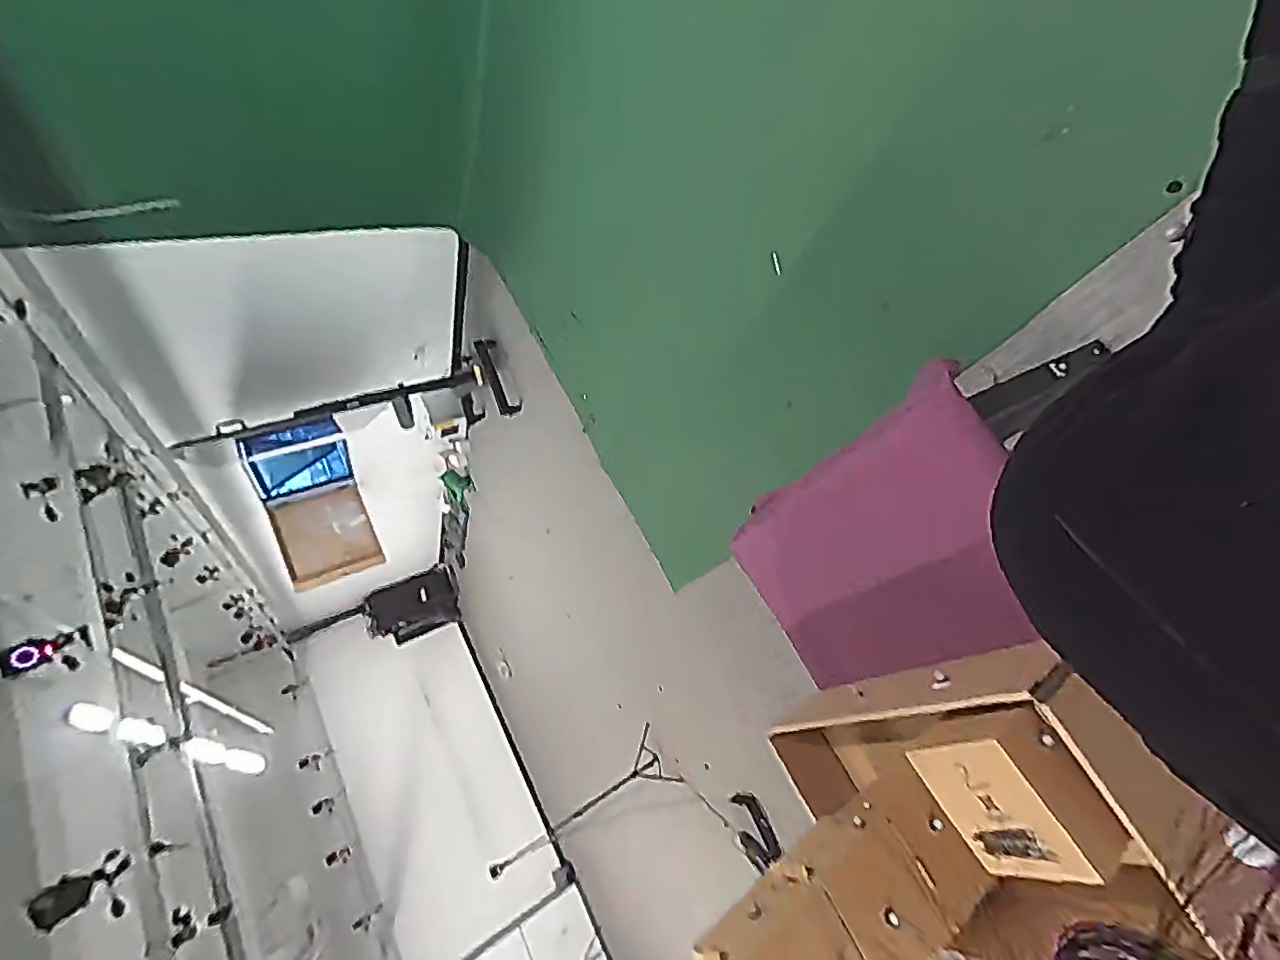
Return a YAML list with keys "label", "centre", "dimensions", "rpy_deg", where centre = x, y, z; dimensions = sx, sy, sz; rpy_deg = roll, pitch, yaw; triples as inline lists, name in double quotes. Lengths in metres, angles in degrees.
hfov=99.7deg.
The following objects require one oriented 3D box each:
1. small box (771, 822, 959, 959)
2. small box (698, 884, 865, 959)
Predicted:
- label: "small box"
  centre: [0.352, 0.672, 0.855]
  dimensions: [0.179, 0.176, 0.168]
  rpy_deg: [58, 146, 18]
- label: "small box"
  centre: [0.220, 0.724, 0.772]
  dimensions: [0.179, 0.176, 0.168]
  rpy_deg: [61, 147, 17]
